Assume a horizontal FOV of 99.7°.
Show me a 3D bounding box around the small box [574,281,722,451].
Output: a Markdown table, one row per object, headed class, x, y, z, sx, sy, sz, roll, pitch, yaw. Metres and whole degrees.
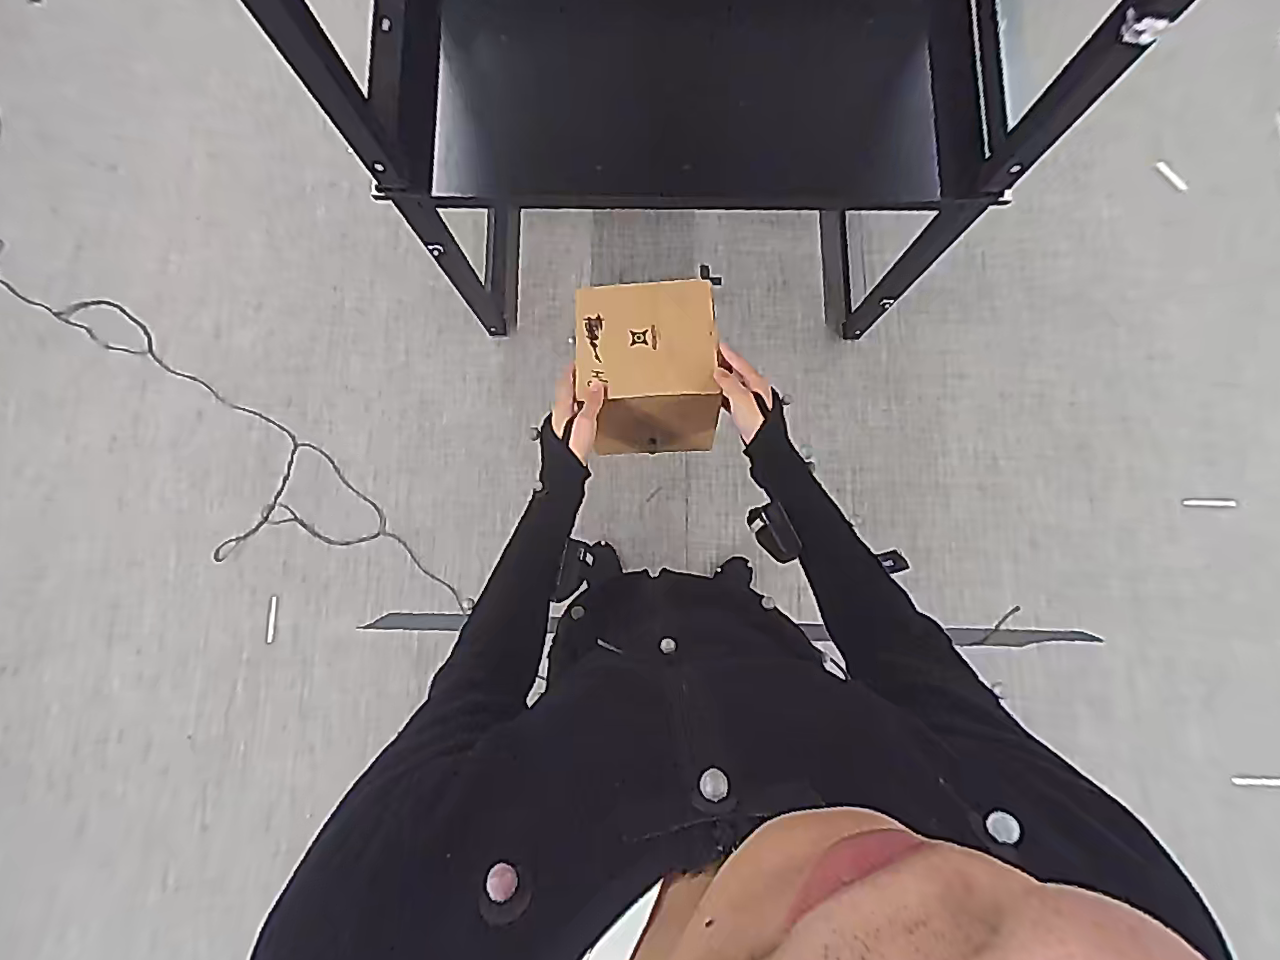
| class | x | y | z | sx | sy | sz | roll | pitch | yaw |
| --- | --- | --- | --- | --- | --- | --- | --- | --- | --- |
| small box | 0.010 | -0.147 | 0.733 | 0.179 | 0.176 | 0.168 | -2 | 69 | 2 |
